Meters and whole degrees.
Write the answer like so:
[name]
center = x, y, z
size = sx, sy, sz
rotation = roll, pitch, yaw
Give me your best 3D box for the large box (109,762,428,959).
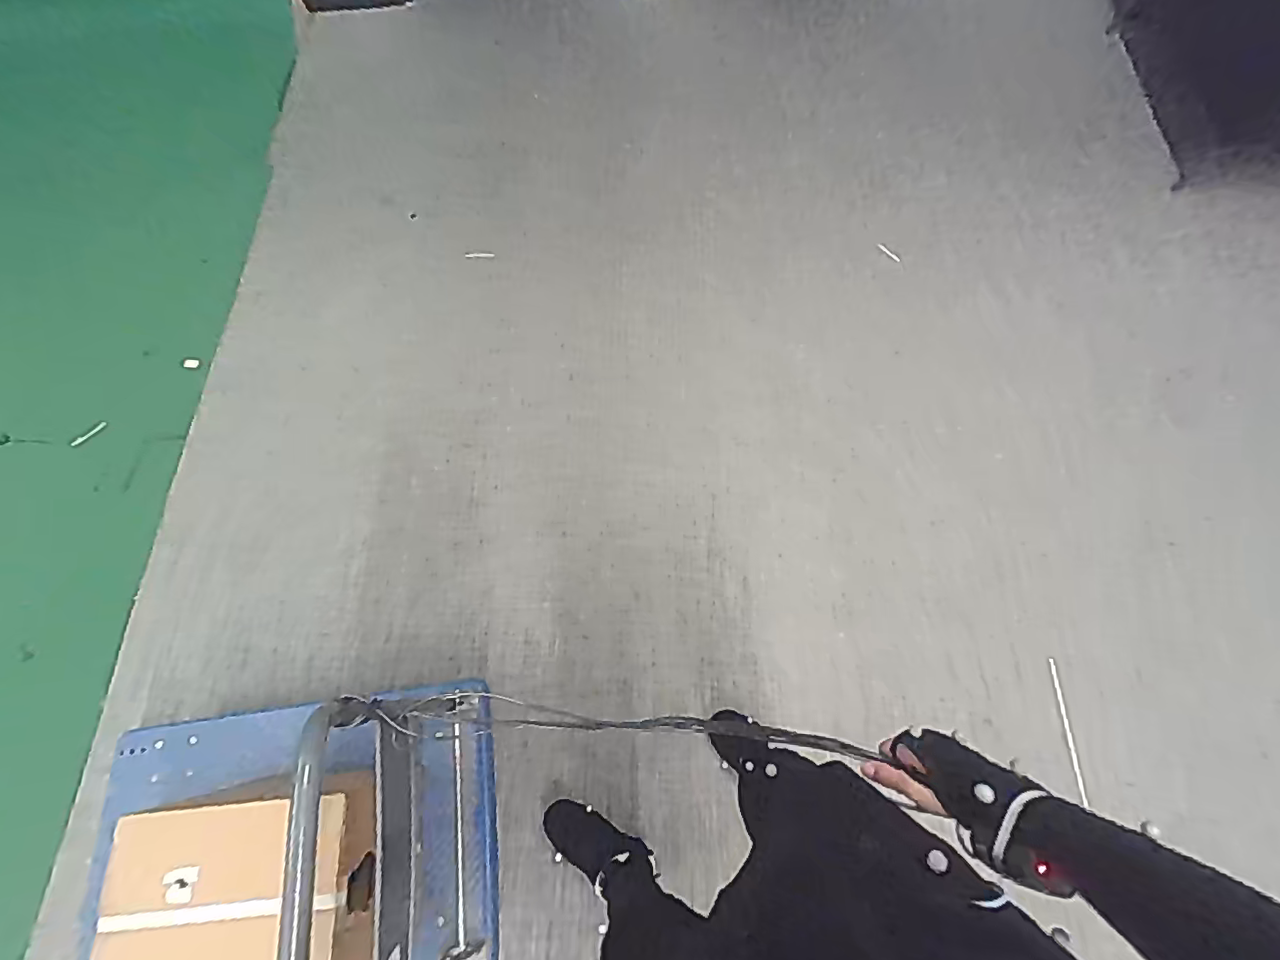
[large box]
center = -0.665, 0.759, 1.039
size = 0.408, 0.320, 0.320
rotation = -7, 70, 2
